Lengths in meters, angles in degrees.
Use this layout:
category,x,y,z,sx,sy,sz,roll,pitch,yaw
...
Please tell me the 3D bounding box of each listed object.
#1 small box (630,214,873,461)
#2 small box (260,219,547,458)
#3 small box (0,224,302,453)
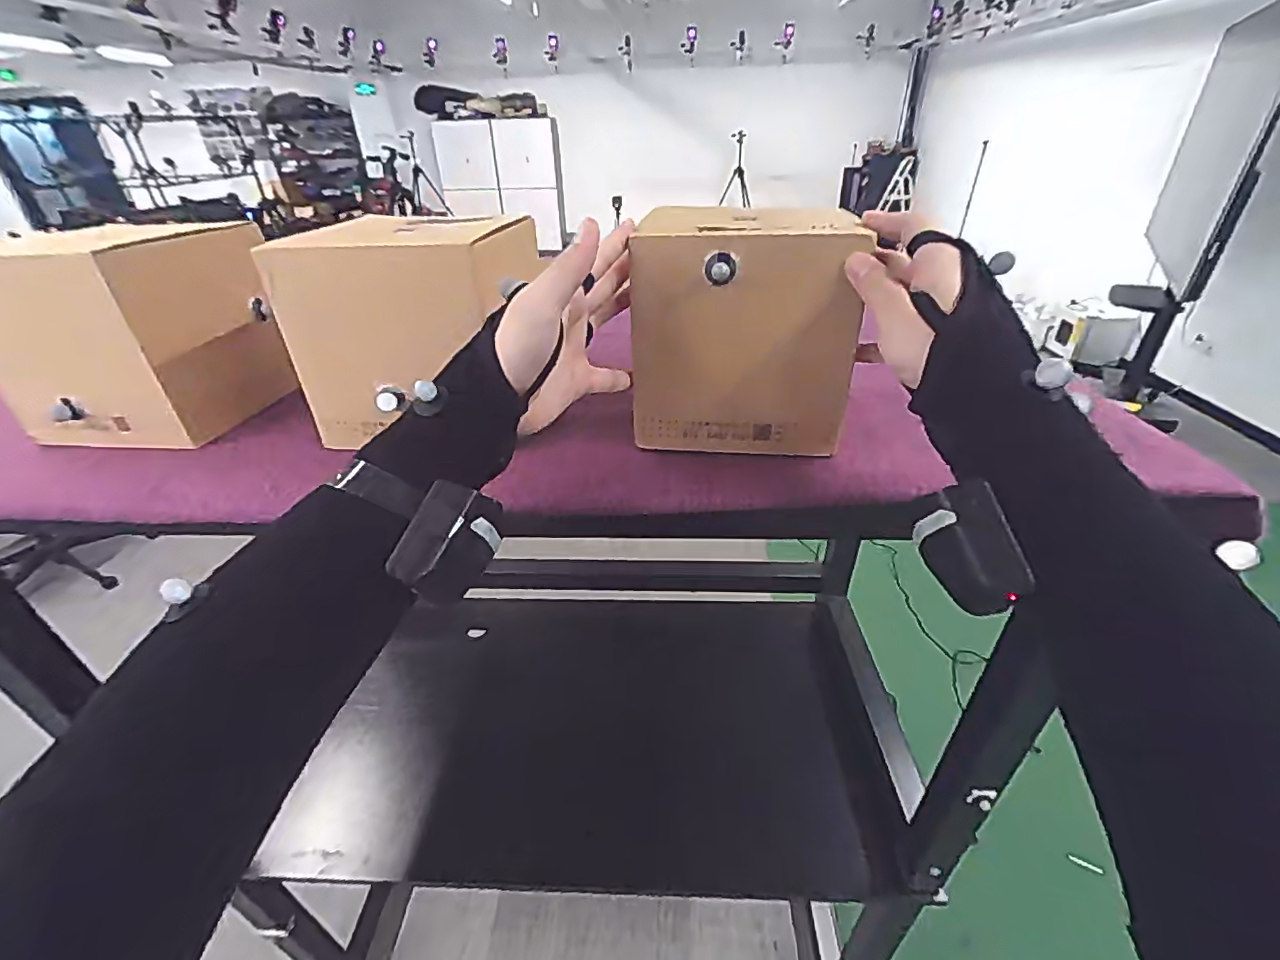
category,x,y,z,sx,sy,sz,roll,pitch,yaw
small box,0.087,-0.132,0.474,0.168,0.176,0.179,3,31,8
small box,-0.187,-0.137,0.496,0.168,0.176,0.179,1,33,5
small box,-0.464,-0.141,0.517,0.168,0.176,0.179,2,33,7
